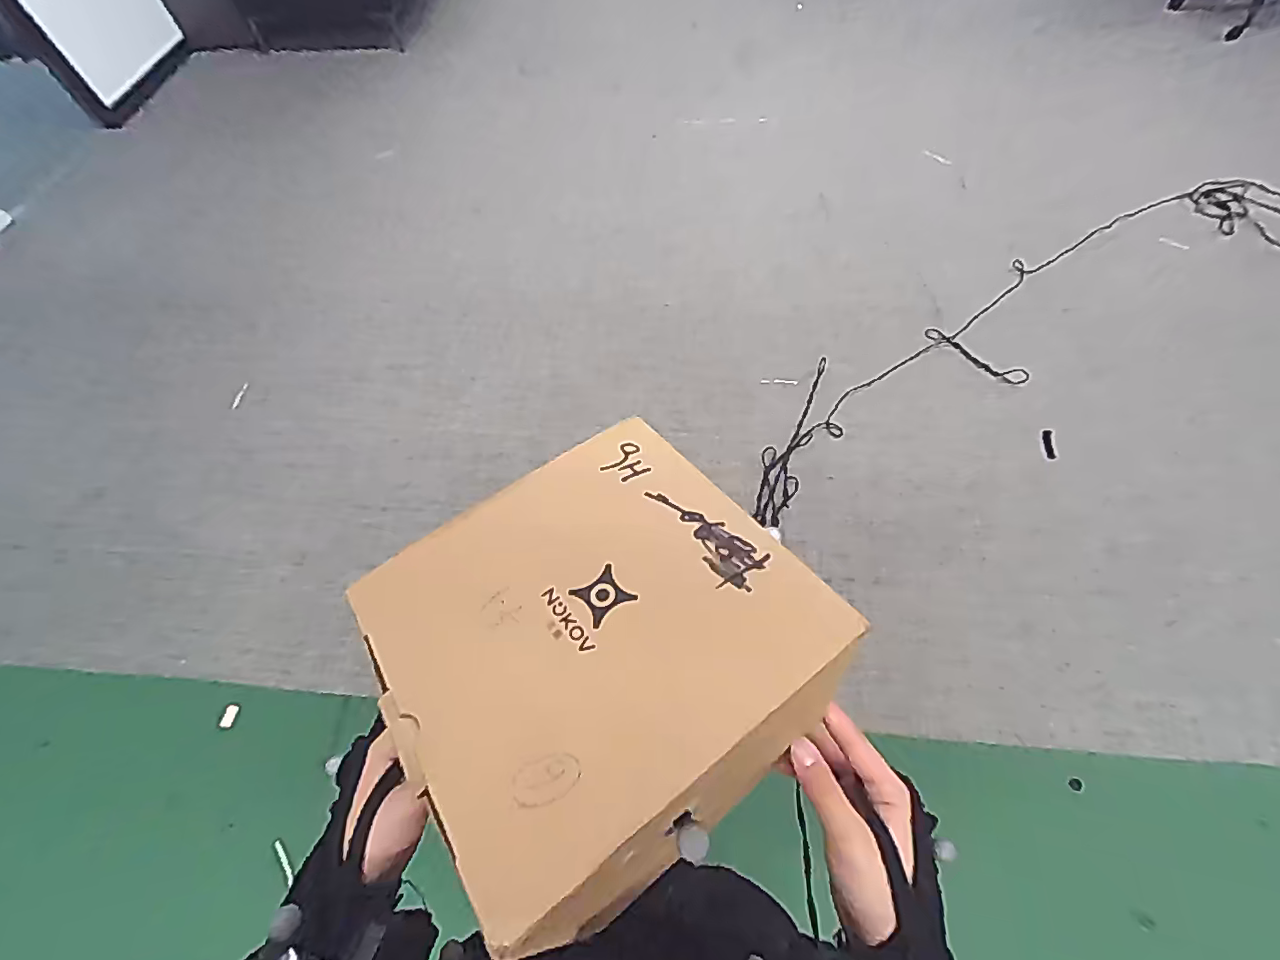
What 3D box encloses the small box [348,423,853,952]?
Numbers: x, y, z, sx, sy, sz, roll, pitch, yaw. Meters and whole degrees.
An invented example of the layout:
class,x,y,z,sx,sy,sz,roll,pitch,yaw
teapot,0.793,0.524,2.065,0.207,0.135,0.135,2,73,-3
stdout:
class,x,y,z,sx,sy,sz,roll,pitch,yaw
small box,-0.016,0.109,0.299,0.179,0.176,0.168,-33,54,-17
